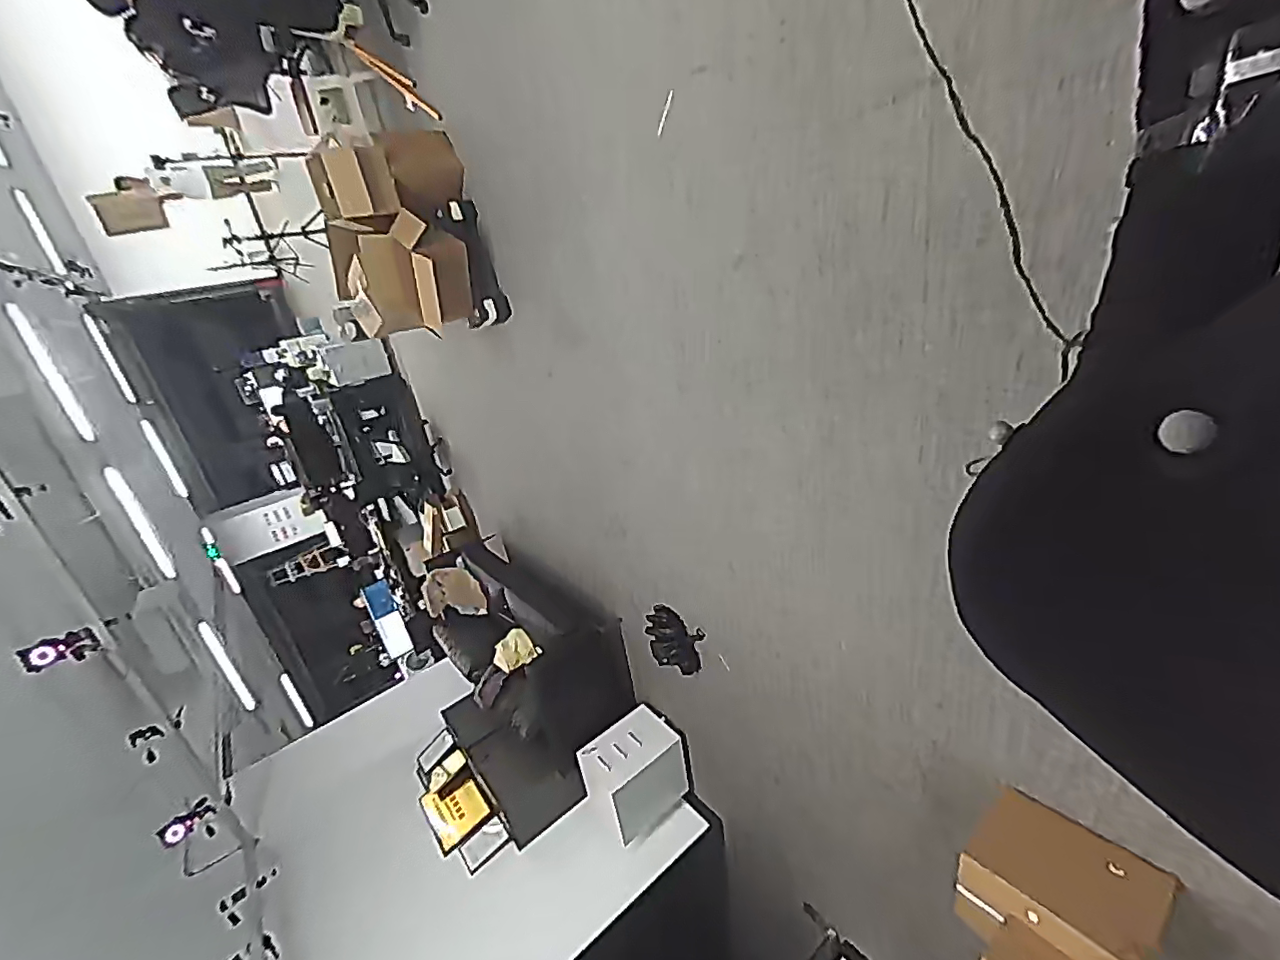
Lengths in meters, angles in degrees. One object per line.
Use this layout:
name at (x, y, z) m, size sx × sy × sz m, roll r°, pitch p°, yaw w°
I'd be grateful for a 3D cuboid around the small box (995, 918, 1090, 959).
small box at (1.053, 1.304, 1.411) m, size 0.179 × 0.176 × 0.168 m, roll 19°, pitch 121°, yaw 52°
